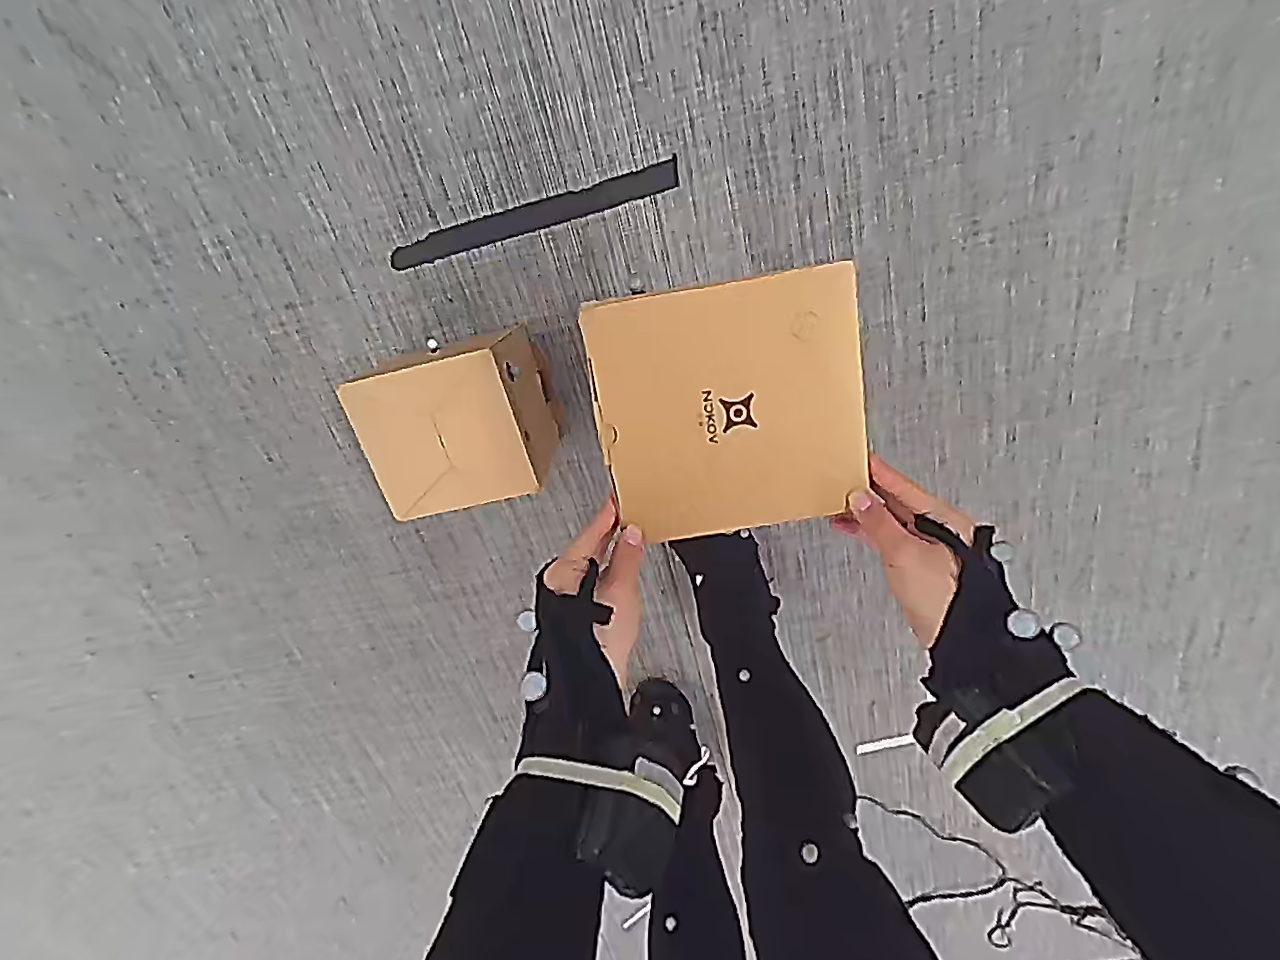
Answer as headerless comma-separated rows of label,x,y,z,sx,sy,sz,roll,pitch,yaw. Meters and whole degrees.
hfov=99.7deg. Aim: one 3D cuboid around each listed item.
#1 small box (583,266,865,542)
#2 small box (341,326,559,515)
small box,0.060,-0.068,0.437,0.179,0.176,0.168,-9,106,3
small box,-0.214,-0.075,0.656,0.179,0.176,0.168,-12,113,5
